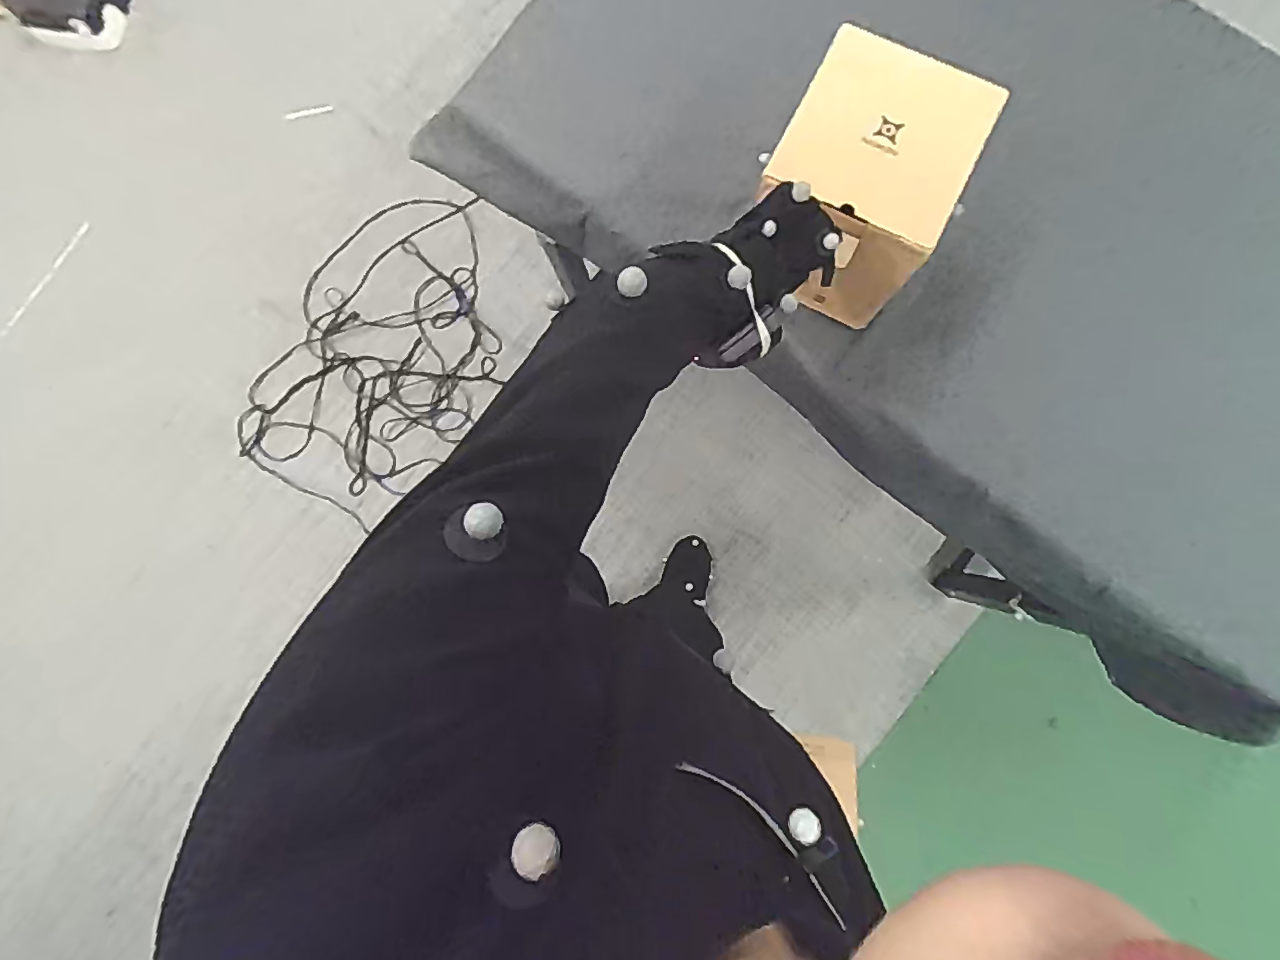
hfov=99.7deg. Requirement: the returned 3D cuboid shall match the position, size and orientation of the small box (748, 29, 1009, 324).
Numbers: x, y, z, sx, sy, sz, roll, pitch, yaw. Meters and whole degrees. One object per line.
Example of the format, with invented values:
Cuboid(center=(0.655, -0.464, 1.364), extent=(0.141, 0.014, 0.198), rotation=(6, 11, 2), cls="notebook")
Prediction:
Cuboid(center=(0.229, -0.300, 0.570), extent=(0.168, 0.176, 0.179), rotation=(27, 84, 4), cls="small box")
